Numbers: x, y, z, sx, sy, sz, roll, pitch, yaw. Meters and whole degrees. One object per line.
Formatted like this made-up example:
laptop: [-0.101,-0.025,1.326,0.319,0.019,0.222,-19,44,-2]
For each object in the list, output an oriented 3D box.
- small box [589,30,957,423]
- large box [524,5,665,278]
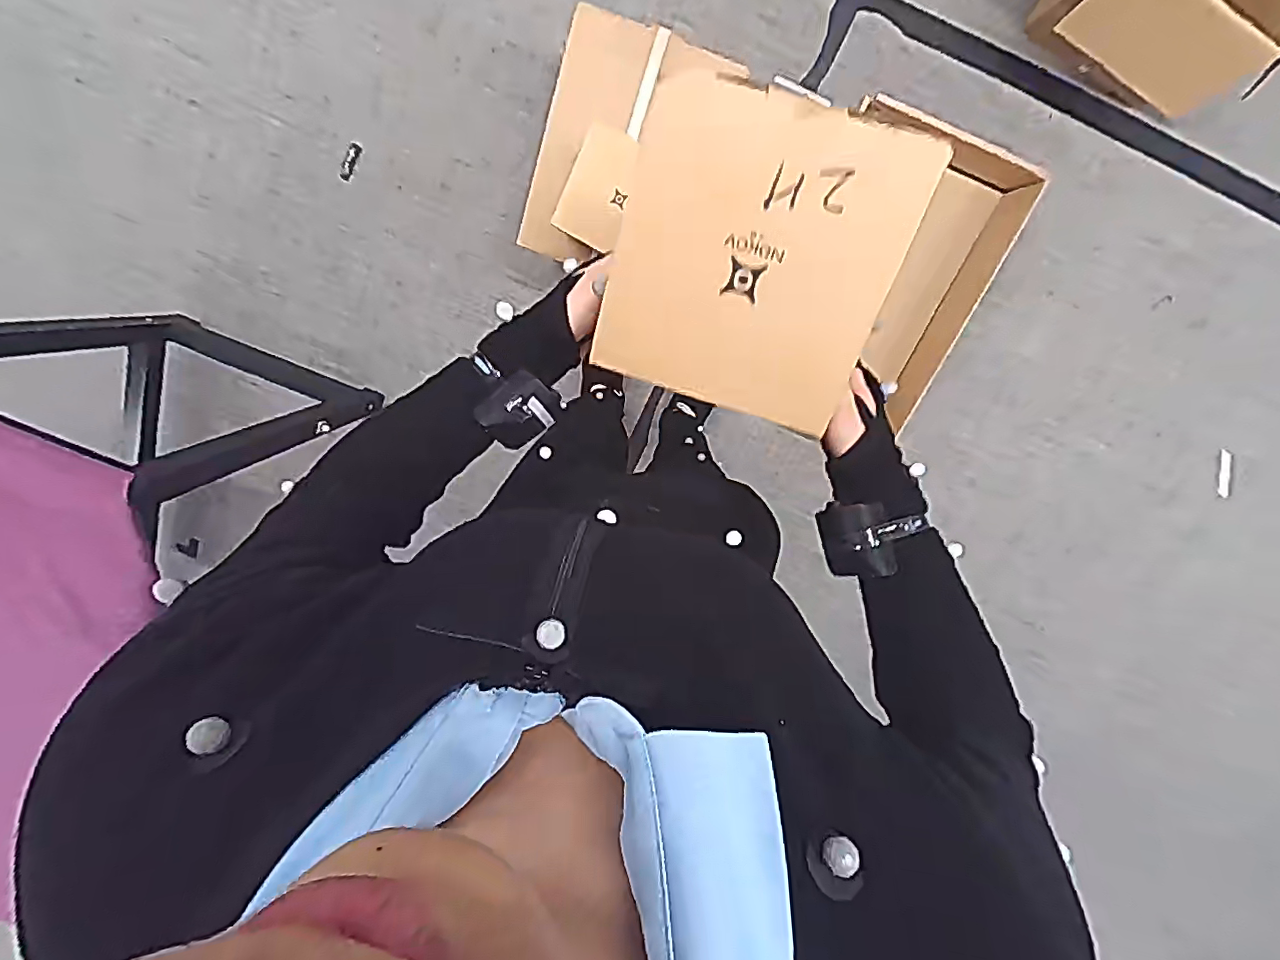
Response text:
small box: [0.079,-0.166,0.389,0.168,0.176,0.179,18,113,2]
large box: [-0.010,-0.624,1.114,0.320,0.320,0.408,20,111,-3]
